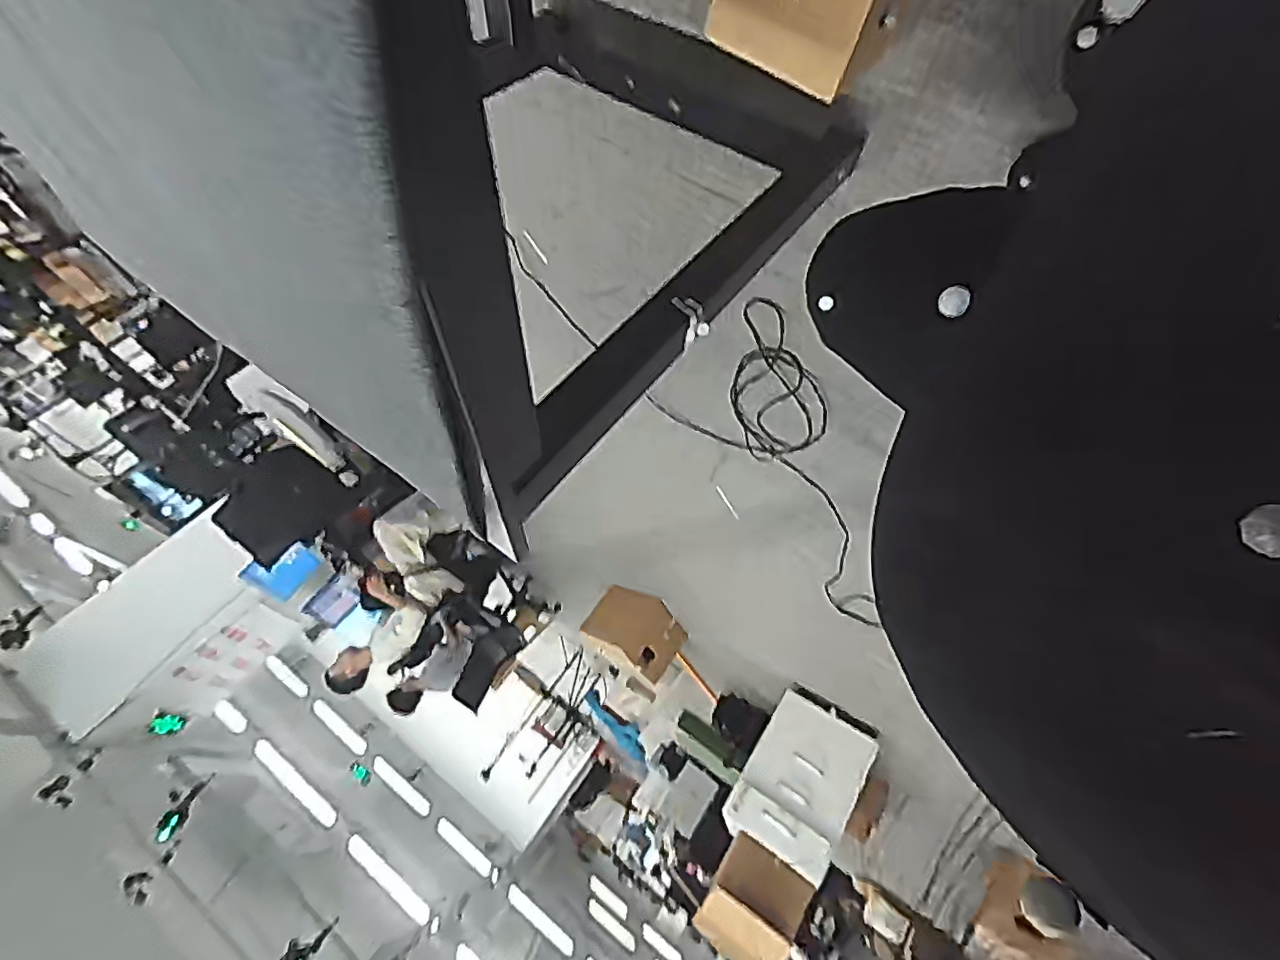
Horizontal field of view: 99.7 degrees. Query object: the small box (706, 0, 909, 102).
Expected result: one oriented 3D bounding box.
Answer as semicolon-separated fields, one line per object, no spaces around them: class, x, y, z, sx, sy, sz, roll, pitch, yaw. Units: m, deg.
small box;0.201;-0.555;0.574;0.179;0.176;0.168;36;154;10
